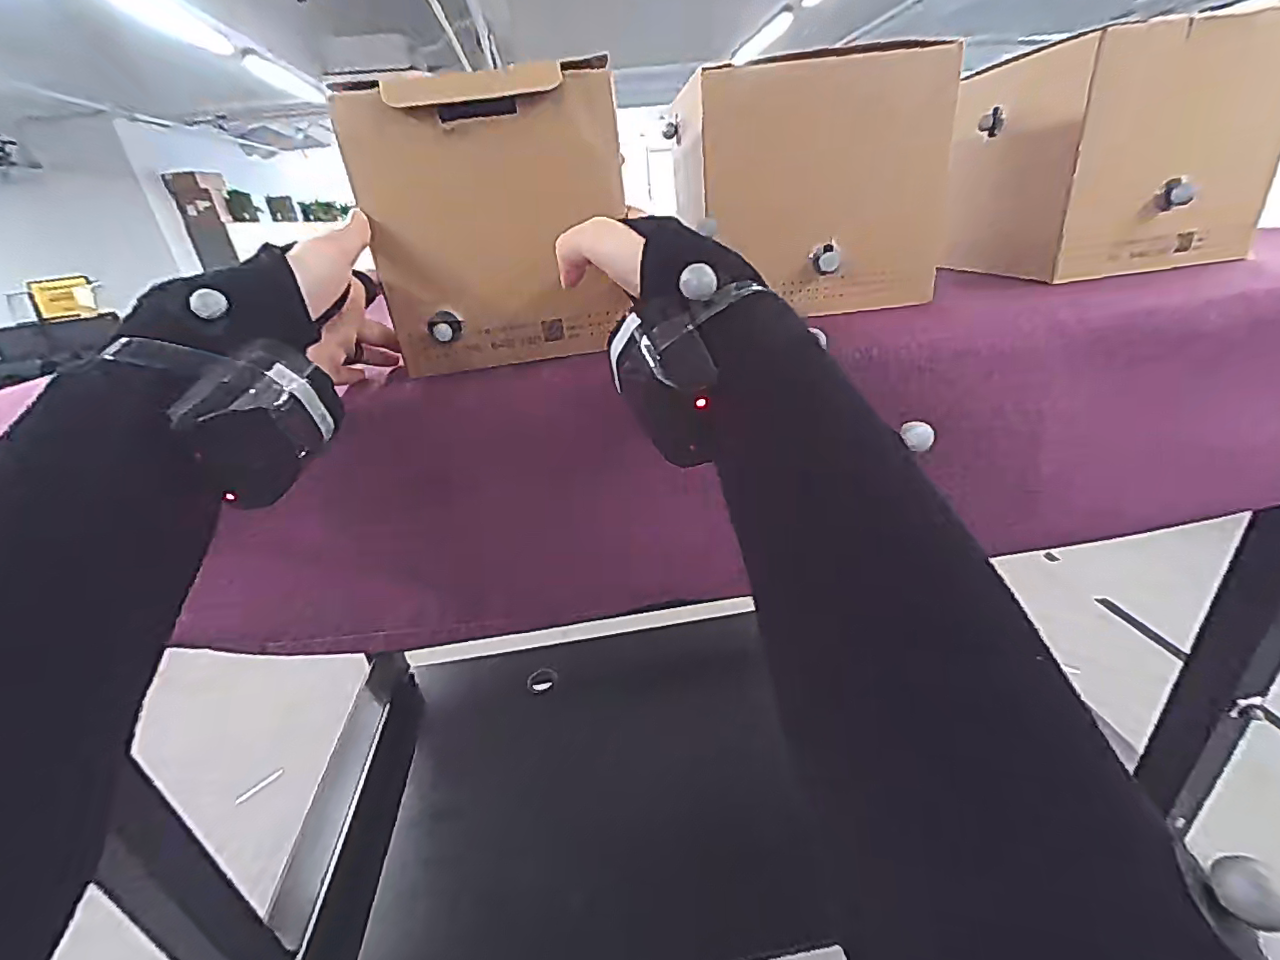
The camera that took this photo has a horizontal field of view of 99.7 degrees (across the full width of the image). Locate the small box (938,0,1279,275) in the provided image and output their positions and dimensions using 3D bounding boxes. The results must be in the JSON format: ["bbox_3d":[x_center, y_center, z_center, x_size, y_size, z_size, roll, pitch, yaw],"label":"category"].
[{"bbox_3d":[0.389,-0.278,0.470,0.168,0.176,0.179,-8,26,-1],"label":"small box"}]

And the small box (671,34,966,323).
[{"bbox_3d":[0.124,-0.235,0.447,0.179,0.176,0.168,-7,25,-2],"label":"small box"}]

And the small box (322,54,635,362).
[{"bbox_3d":[-0.102,-0.193,0.415,0.168,0.176,0.179,-9,25,-6],"label":"small box"}]
